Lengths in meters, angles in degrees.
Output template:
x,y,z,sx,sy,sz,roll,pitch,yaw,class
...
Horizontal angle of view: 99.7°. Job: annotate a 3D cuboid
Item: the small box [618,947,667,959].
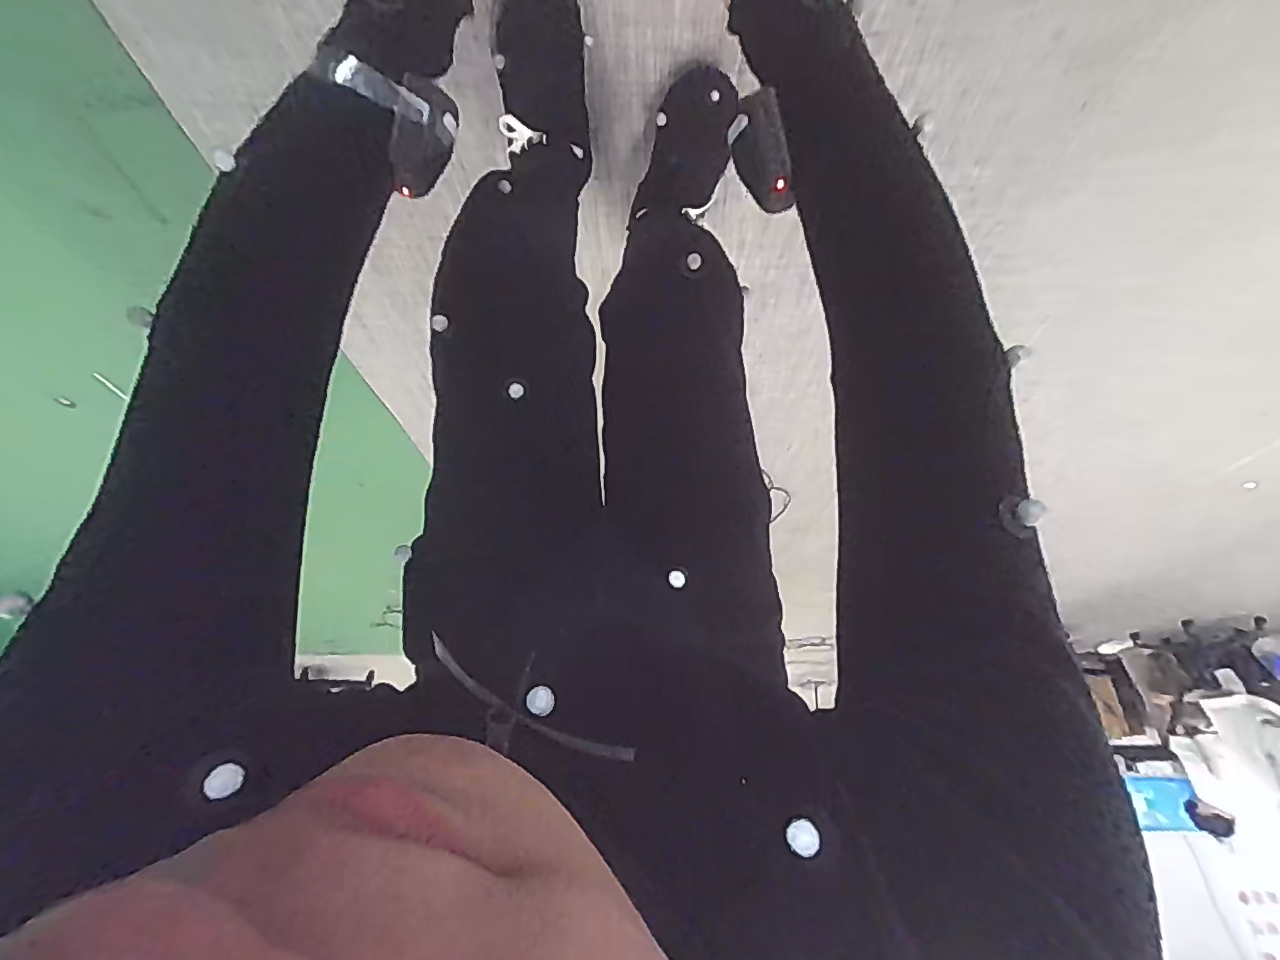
x,y,z,sx,sy,sz,roll,pitch,yaw,class
0.011,1.800,1.930,0.179,0.176,0.168,0,152,2,small box
